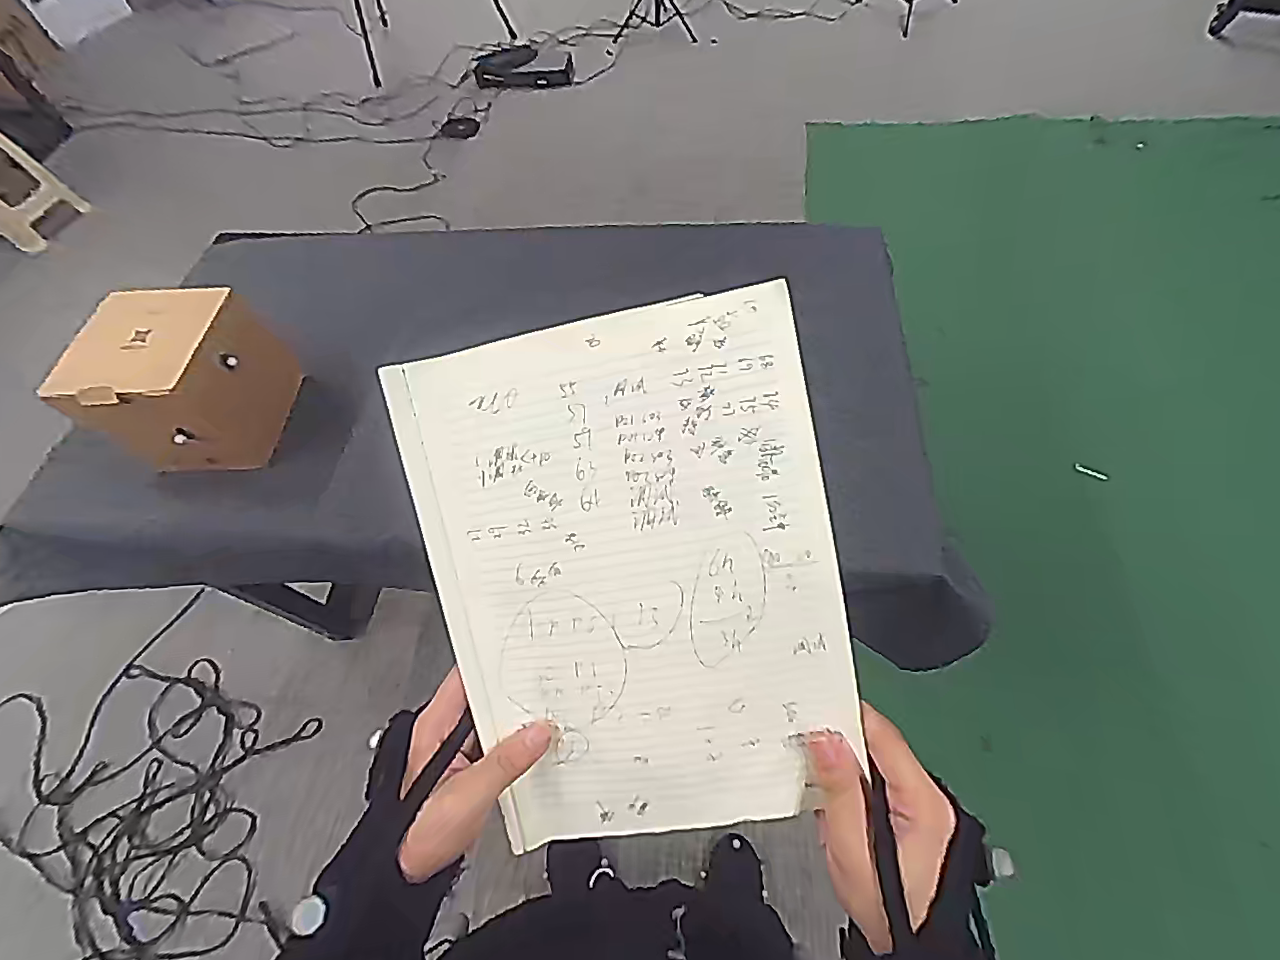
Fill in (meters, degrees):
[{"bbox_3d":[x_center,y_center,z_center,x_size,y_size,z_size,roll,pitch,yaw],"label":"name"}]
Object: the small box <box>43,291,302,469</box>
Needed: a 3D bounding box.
[{"bbox_3d":[-0.596,-0.125,0.723,0.168,0.176,0.179,-1,58,3],"label":"small box"}]
